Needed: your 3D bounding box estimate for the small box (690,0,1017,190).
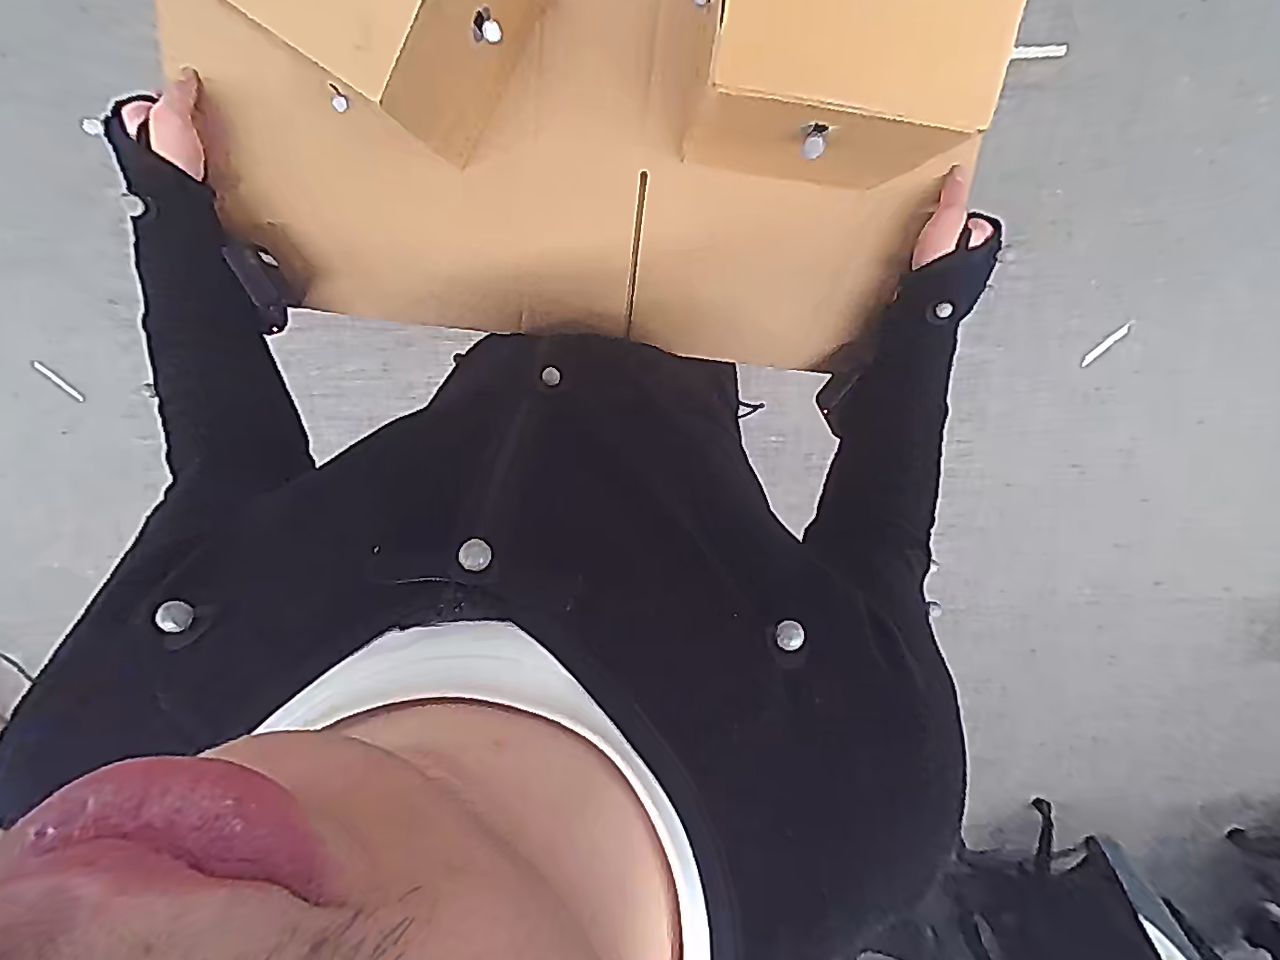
[{"bbox_3d":[0.142,-0.328,0.397,0.179,0.176,0.168,8,107,-3],"label":"small box"}]
